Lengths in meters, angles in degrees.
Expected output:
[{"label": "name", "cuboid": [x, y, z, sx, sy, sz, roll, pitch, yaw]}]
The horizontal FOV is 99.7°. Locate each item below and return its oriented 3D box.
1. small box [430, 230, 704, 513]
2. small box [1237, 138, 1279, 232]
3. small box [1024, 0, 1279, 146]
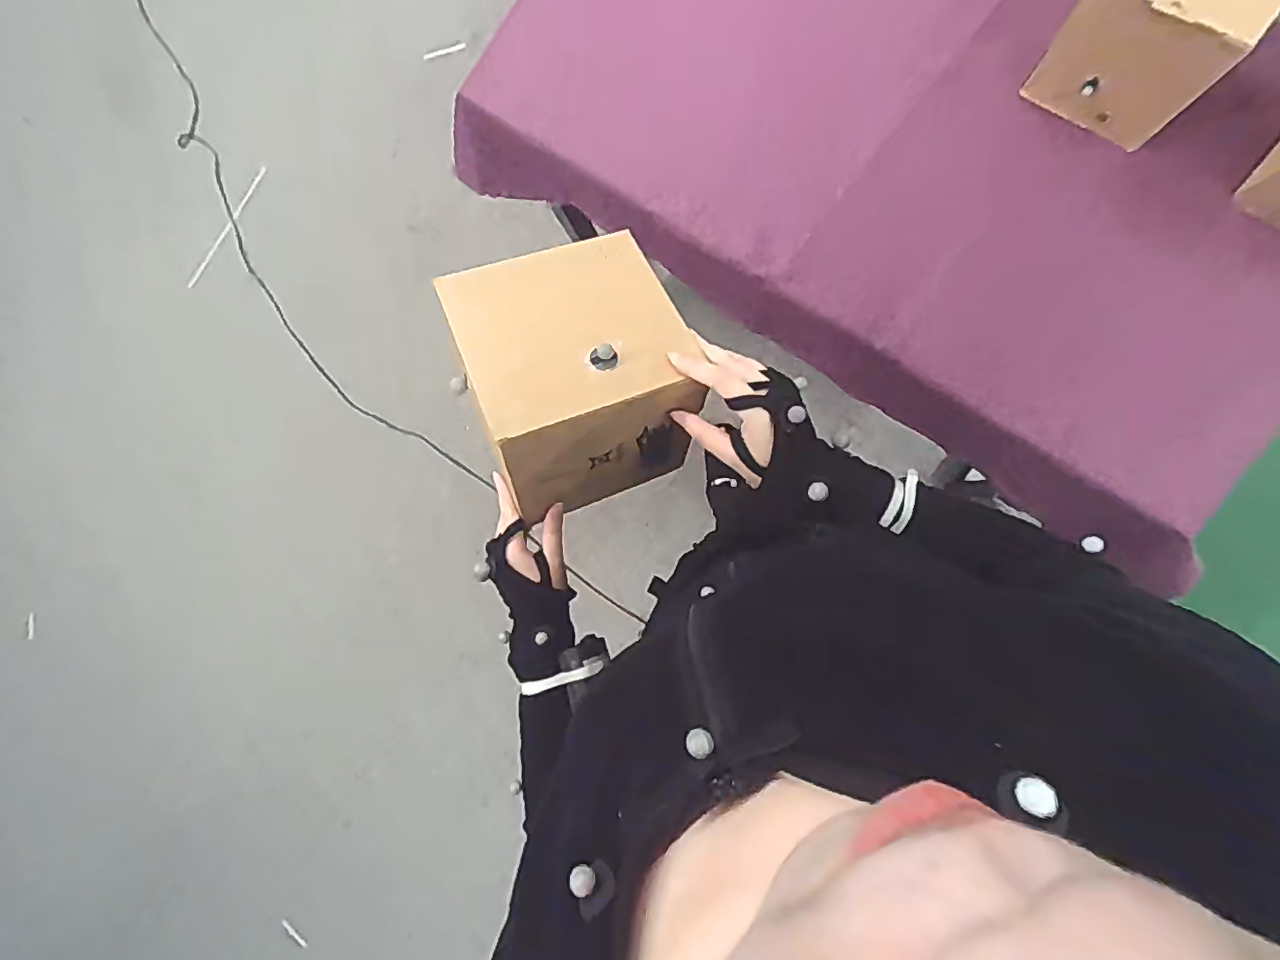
[{"label": "small box", "cuboid": [-0.067, -0.098, 0.496, 0.179, 0.168, 0.176, -20, 67, -14]}, {"label": "small box", "cuboid": [0.820, -0.365, 0.566, 0.168, 0.176, 0.179, 38, 98, 10]}, {"label": "small box", "cuboid": [0.595, -0.540, 0.618, 0.168, 0.176, 0.179, 36, 96, 9]}]
